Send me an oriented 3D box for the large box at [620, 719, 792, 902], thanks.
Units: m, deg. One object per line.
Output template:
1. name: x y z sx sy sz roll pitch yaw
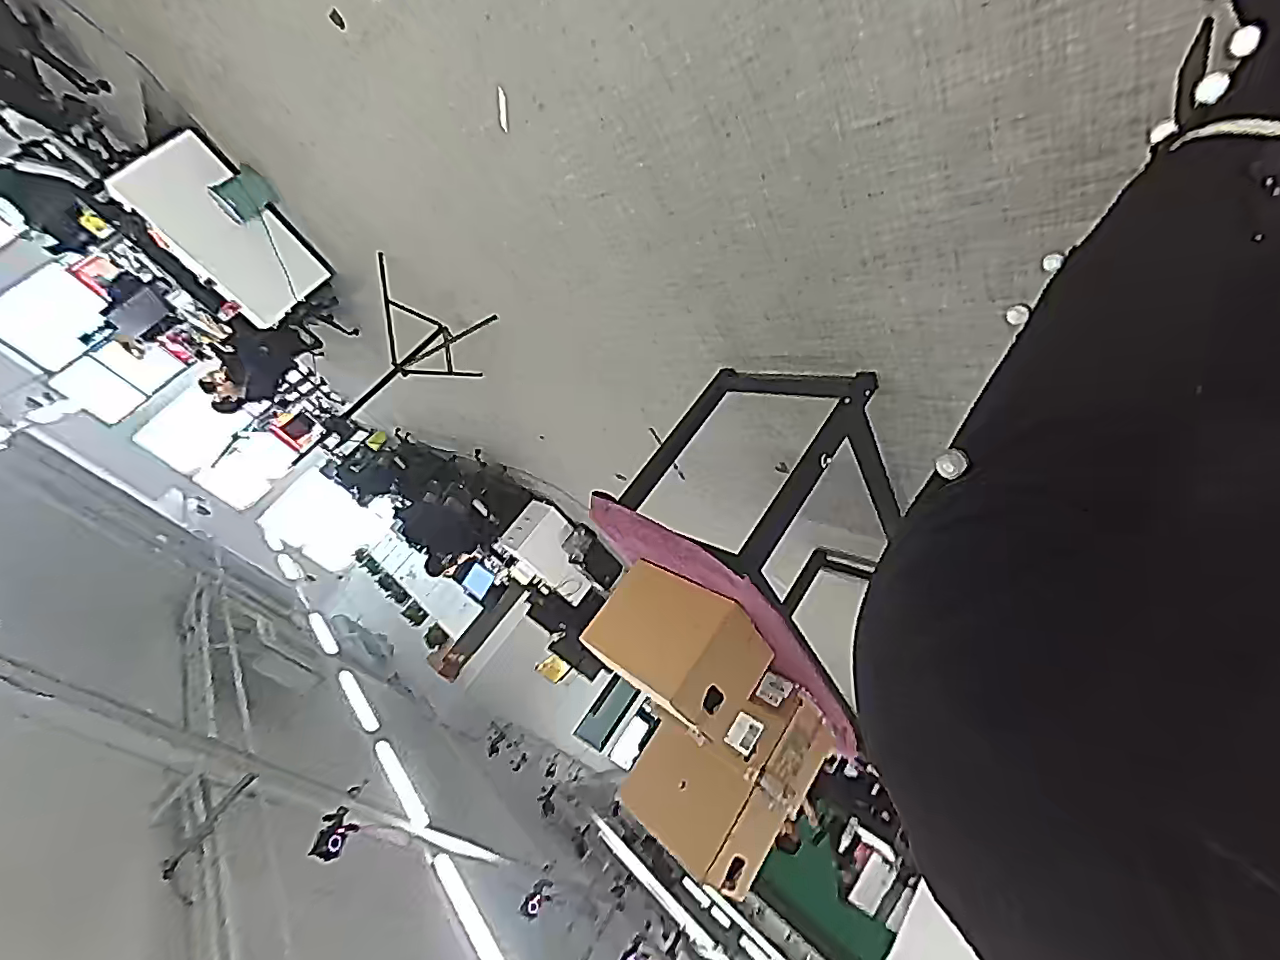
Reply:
1. large box: 0.217 1.070 1.786 0.408 0.320 0.320 14 151 48
